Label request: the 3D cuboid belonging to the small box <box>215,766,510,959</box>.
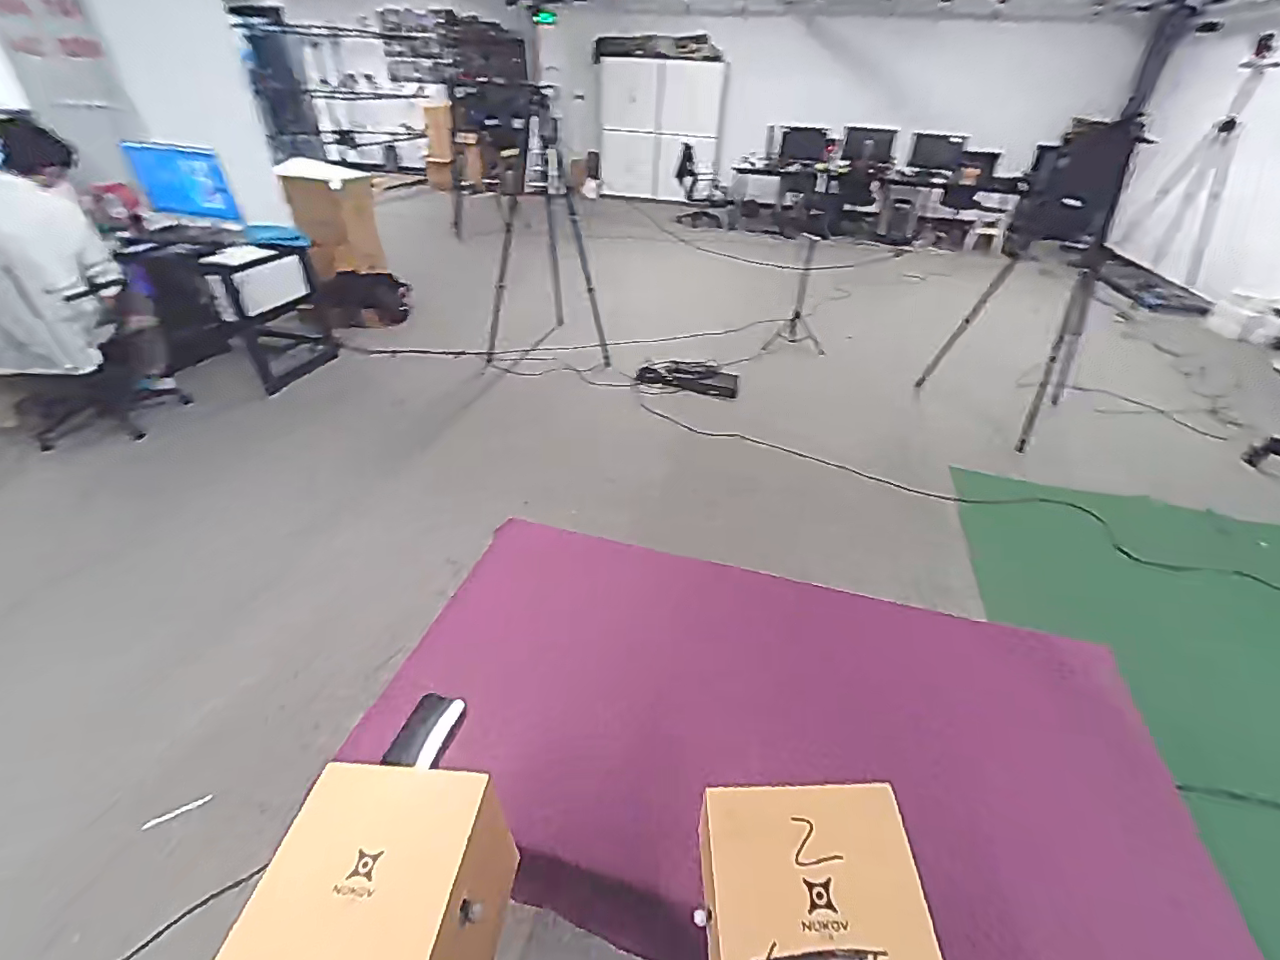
[{"bbox_3d":[-0.226,0.394,0.489,0.168,0.176,0.179,1,34,6],"label":"small box"}]
